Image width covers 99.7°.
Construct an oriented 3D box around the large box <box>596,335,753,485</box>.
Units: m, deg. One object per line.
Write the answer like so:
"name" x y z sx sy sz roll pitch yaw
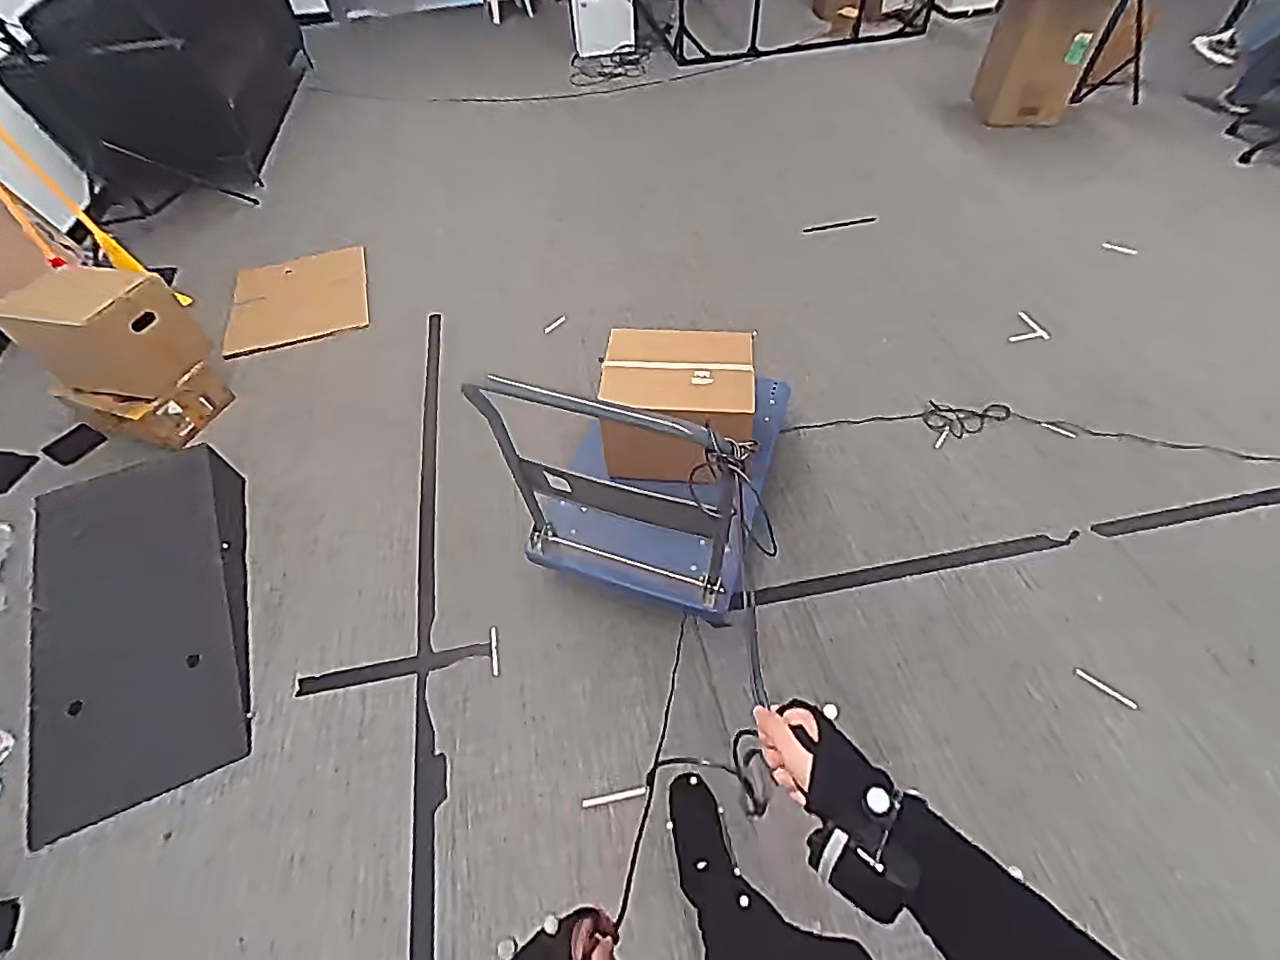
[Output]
"large box" 0.099 -0.199 1.567 0.408 0.320 0.320 3 54 5
